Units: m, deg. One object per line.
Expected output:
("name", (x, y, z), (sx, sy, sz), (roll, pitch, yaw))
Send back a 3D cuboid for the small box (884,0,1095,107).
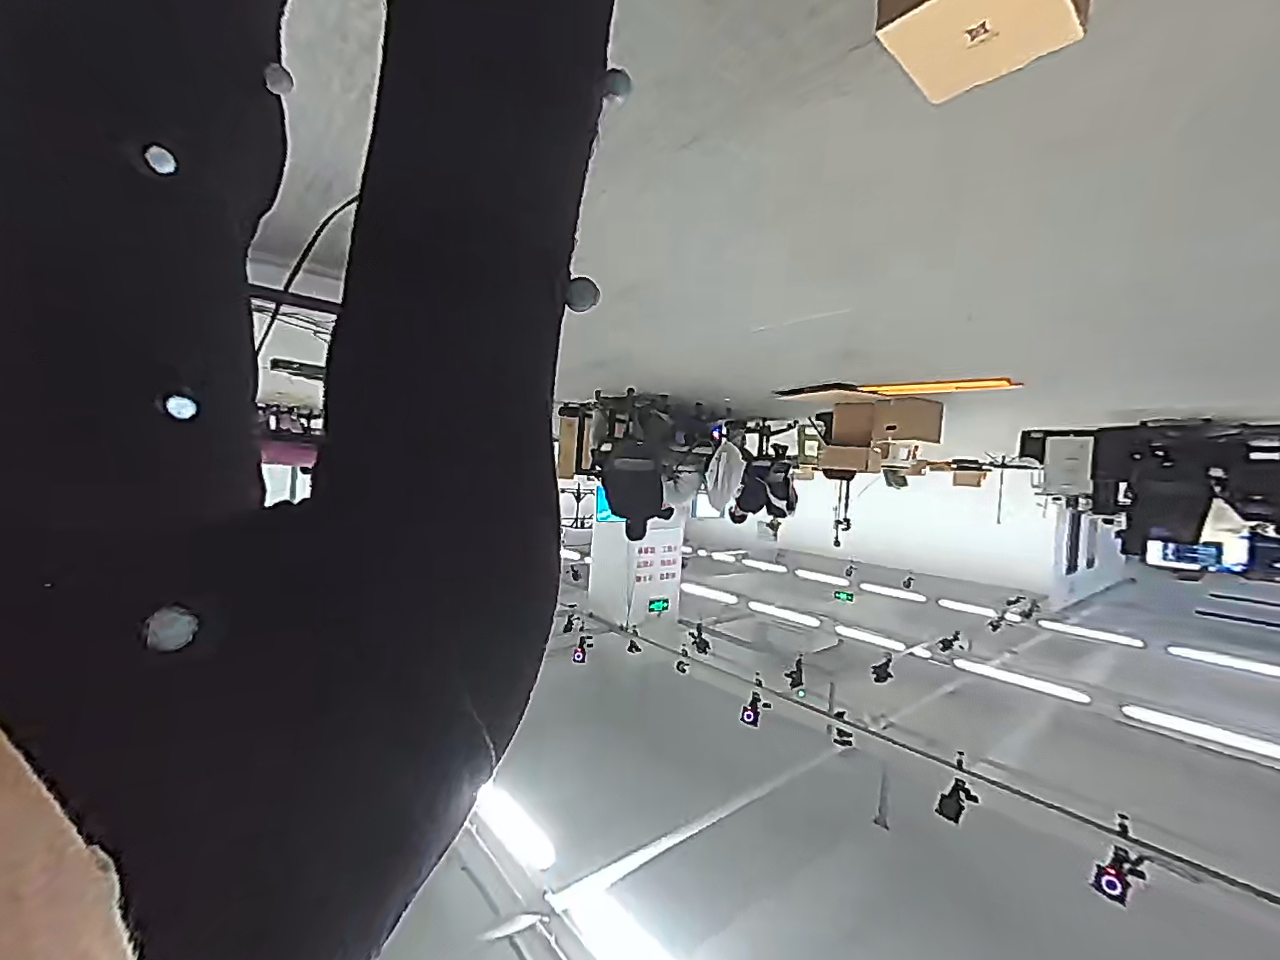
("small box", (0.399, -0.586, 0.616), (0.179, 0.176, 0.168), (2, -179, -40))
